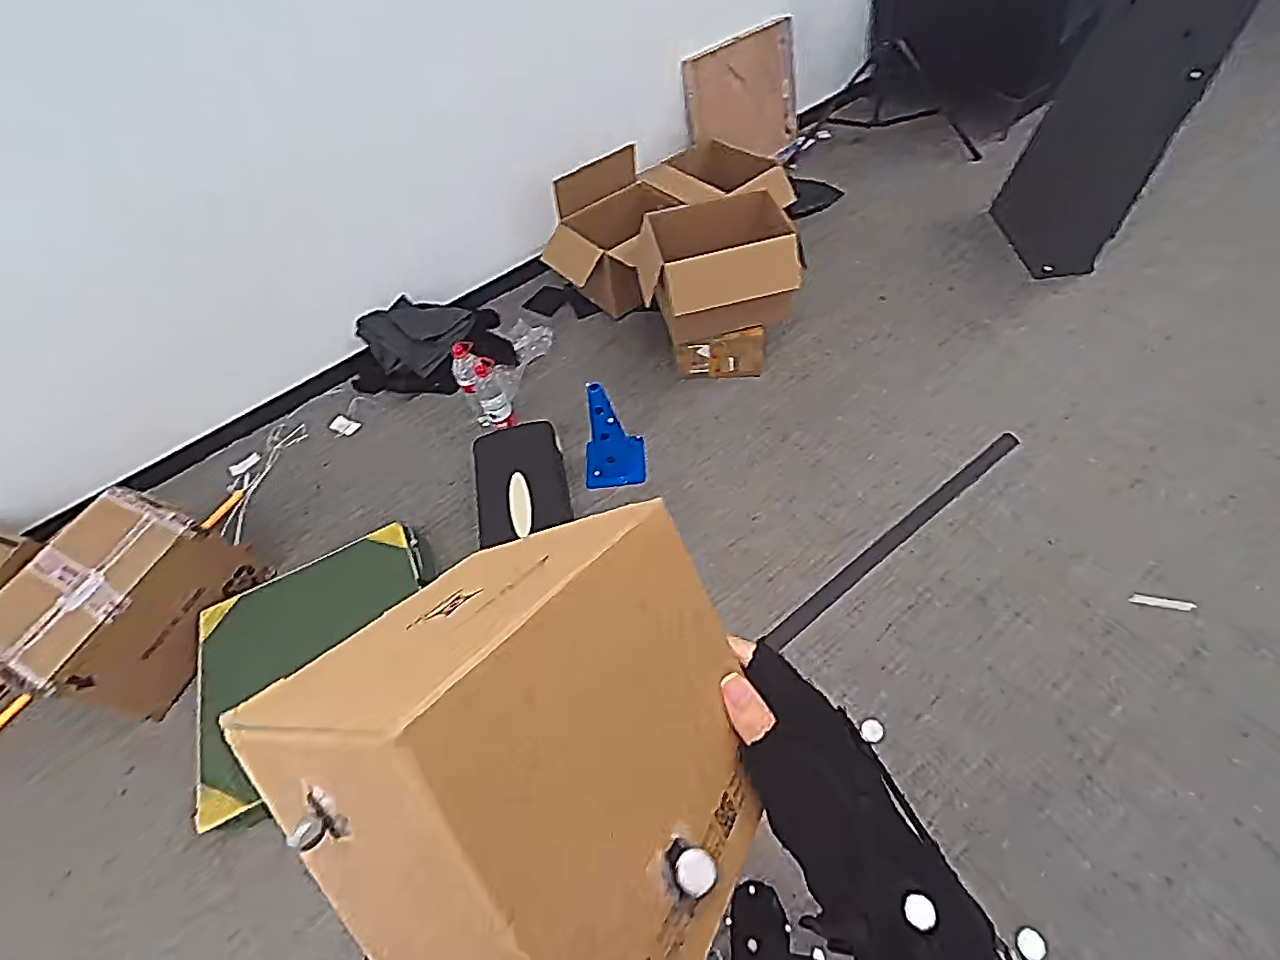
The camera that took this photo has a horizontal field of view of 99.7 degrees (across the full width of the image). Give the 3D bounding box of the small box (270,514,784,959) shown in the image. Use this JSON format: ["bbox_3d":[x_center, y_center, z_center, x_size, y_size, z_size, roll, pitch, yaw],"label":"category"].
[{"bbox_3d":[-0.050,0.142,0.295,0.179,0.176,0.168,-18,11,37],"label":"small box"}]
